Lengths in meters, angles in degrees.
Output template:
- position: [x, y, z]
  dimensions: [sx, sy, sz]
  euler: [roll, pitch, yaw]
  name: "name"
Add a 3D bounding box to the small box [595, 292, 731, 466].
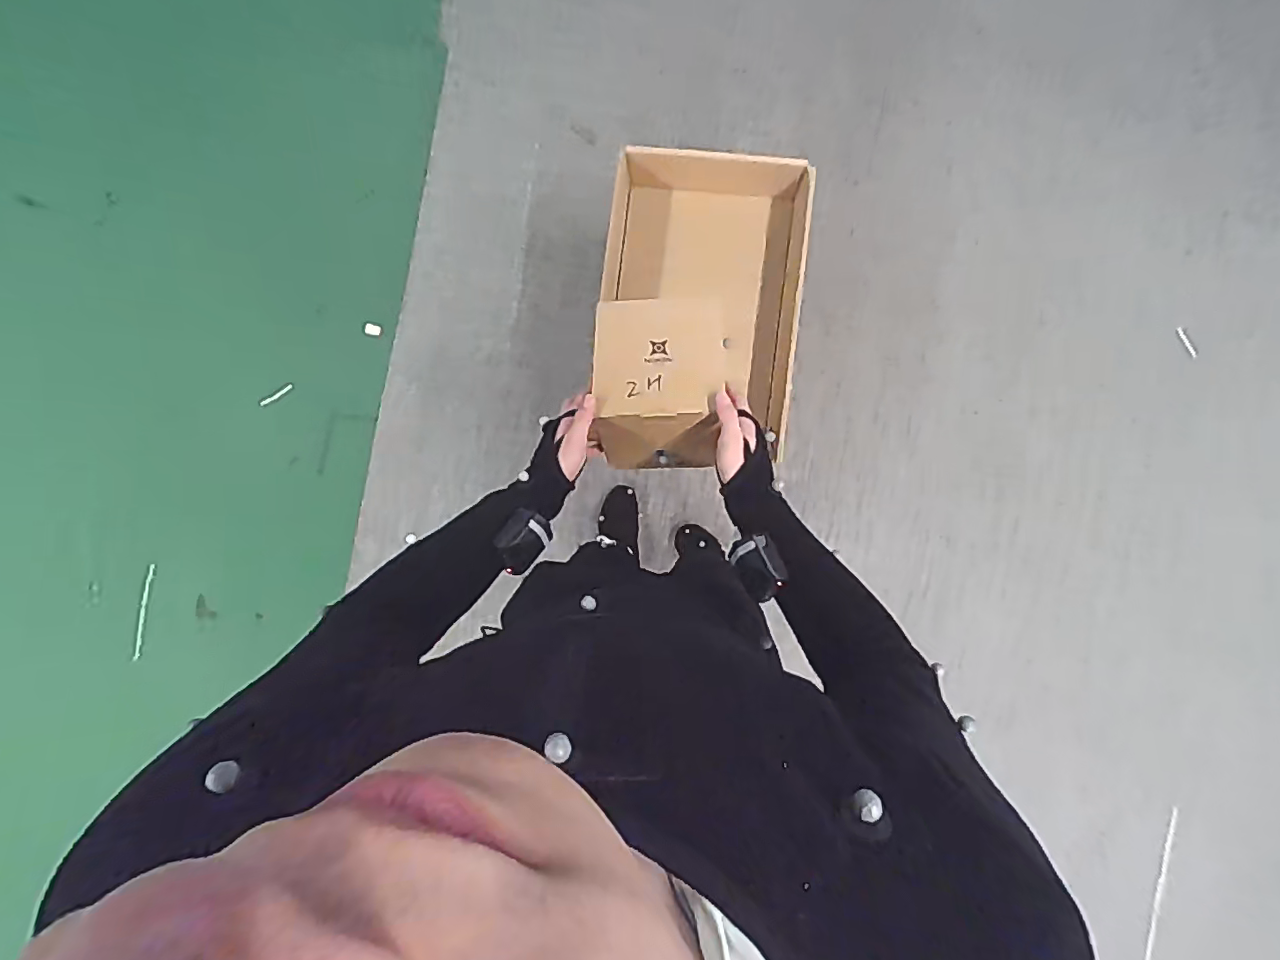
- position: [0.035, -0.131, 0.747]
  dimensions: [0.168, 0.176, 0.179]
  euler: [-2, 69, 6]
  name: "small box"
